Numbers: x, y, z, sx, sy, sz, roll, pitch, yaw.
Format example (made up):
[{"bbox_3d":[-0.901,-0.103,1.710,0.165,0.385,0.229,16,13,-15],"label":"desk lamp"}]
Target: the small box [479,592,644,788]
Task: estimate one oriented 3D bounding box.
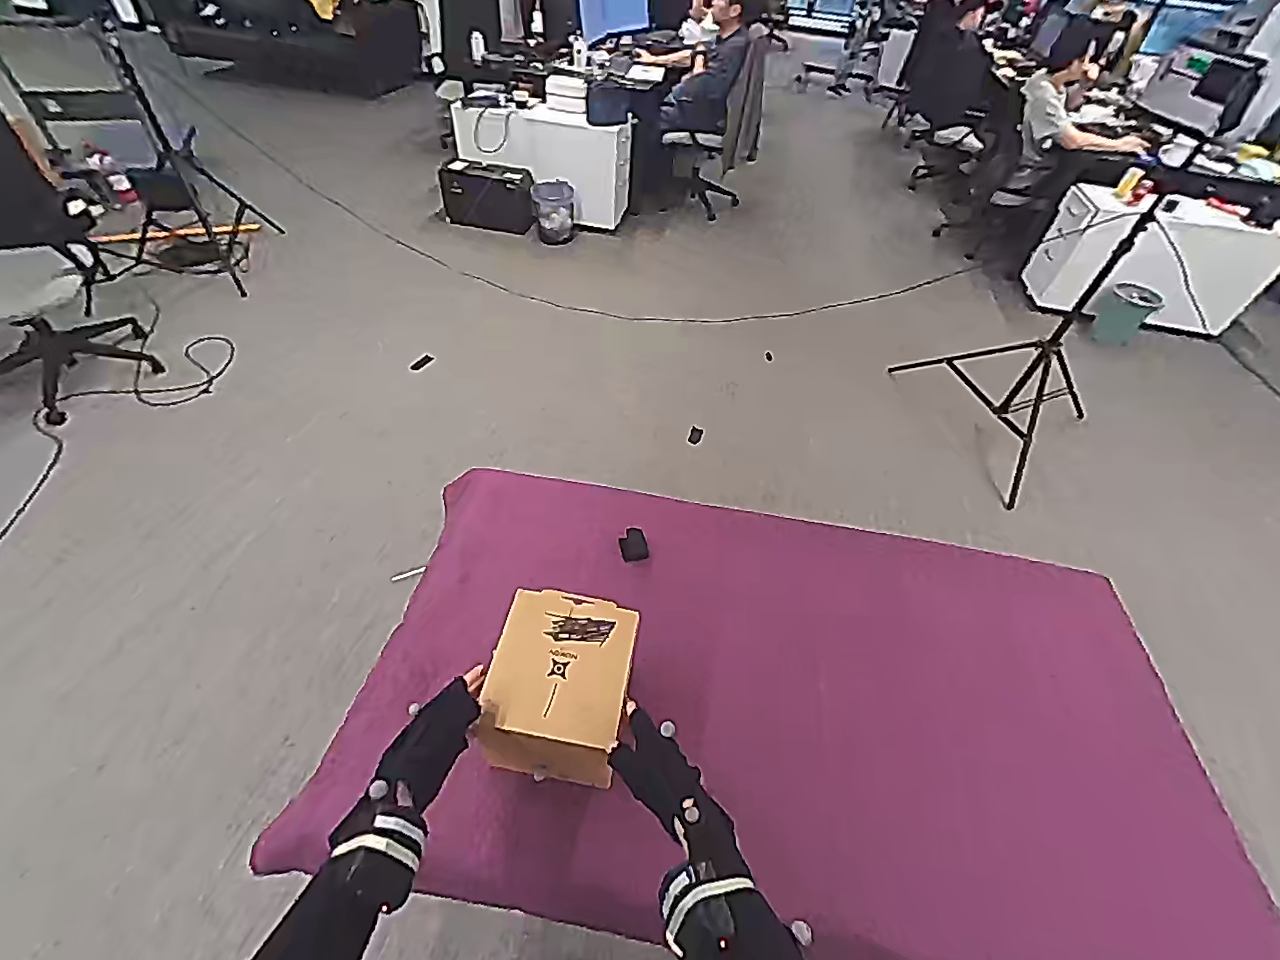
[{"bbox_3d":[-0.095,0.277,0.714,0.168,0.176,0.179,9,47,3],"label":"small box"}]
